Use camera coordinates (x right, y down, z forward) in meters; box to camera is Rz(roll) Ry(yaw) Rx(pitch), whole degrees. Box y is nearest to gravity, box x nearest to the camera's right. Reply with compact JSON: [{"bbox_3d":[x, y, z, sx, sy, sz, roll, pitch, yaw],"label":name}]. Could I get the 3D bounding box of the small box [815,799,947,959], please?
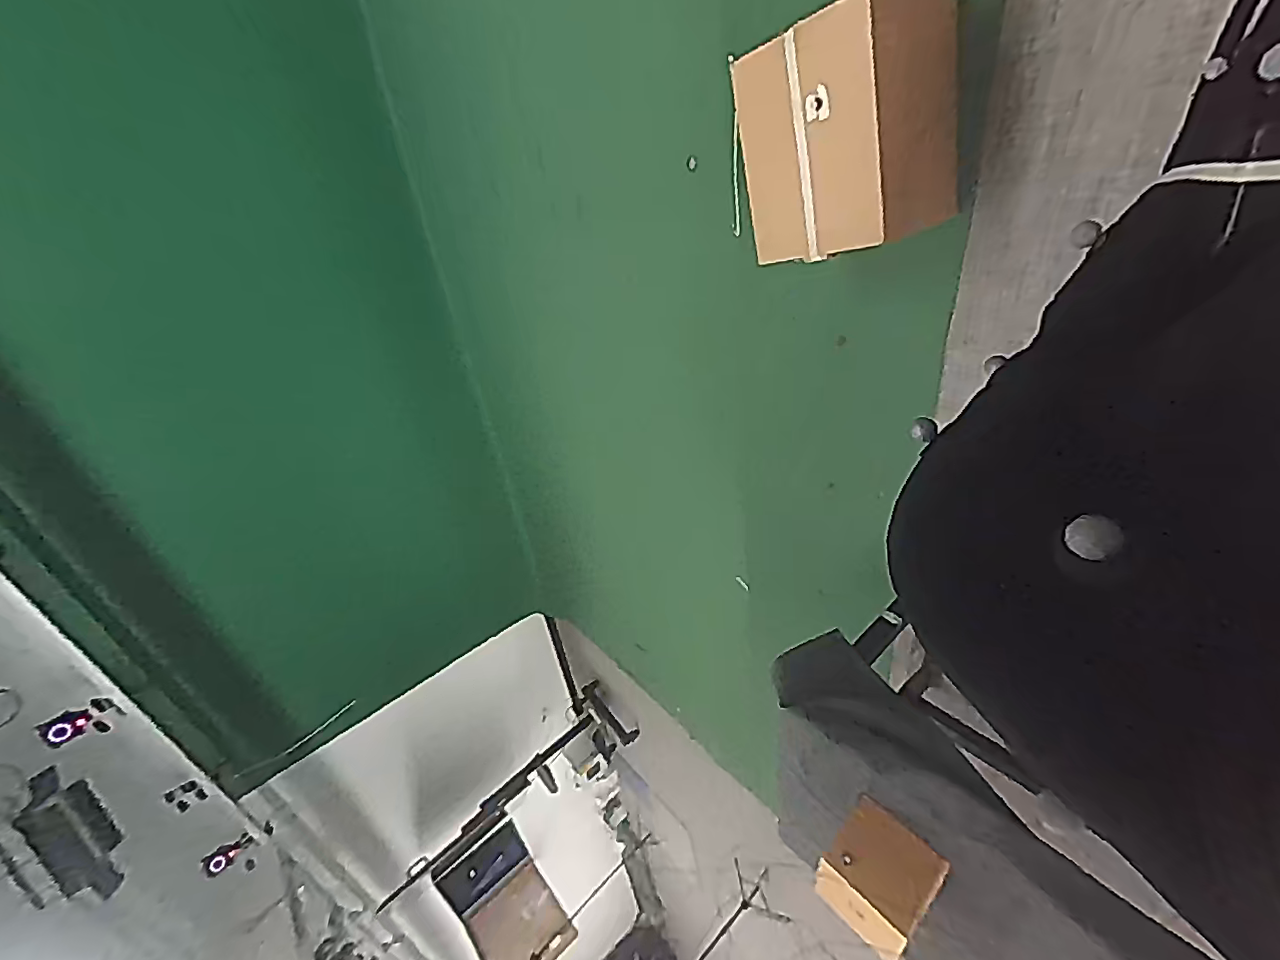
[{"bbox_3d":[0.475,0.785,1.072,0.179,0.176,0.168,30,139,42],"label":"small box"}]
